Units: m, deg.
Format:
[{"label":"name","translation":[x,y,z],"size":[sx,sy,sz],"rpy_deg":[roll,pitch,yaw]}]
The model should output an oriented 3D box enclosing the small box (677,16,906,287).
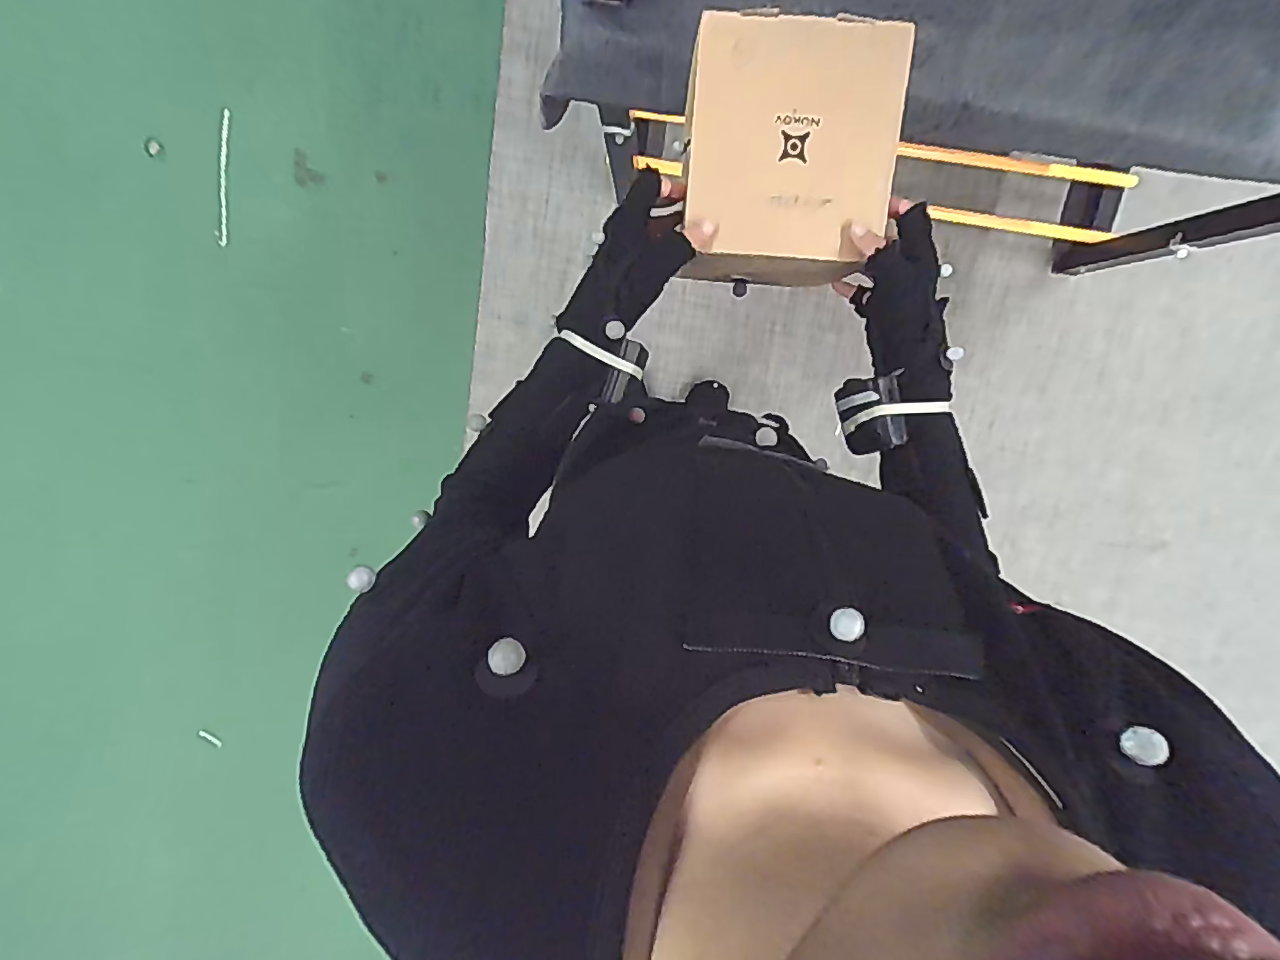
[{"label":"small box","translation":[0.125,-0.292,0.520],"size":[0.168,0.176,0.179],"rpy_deg":[3,104,1]}]
